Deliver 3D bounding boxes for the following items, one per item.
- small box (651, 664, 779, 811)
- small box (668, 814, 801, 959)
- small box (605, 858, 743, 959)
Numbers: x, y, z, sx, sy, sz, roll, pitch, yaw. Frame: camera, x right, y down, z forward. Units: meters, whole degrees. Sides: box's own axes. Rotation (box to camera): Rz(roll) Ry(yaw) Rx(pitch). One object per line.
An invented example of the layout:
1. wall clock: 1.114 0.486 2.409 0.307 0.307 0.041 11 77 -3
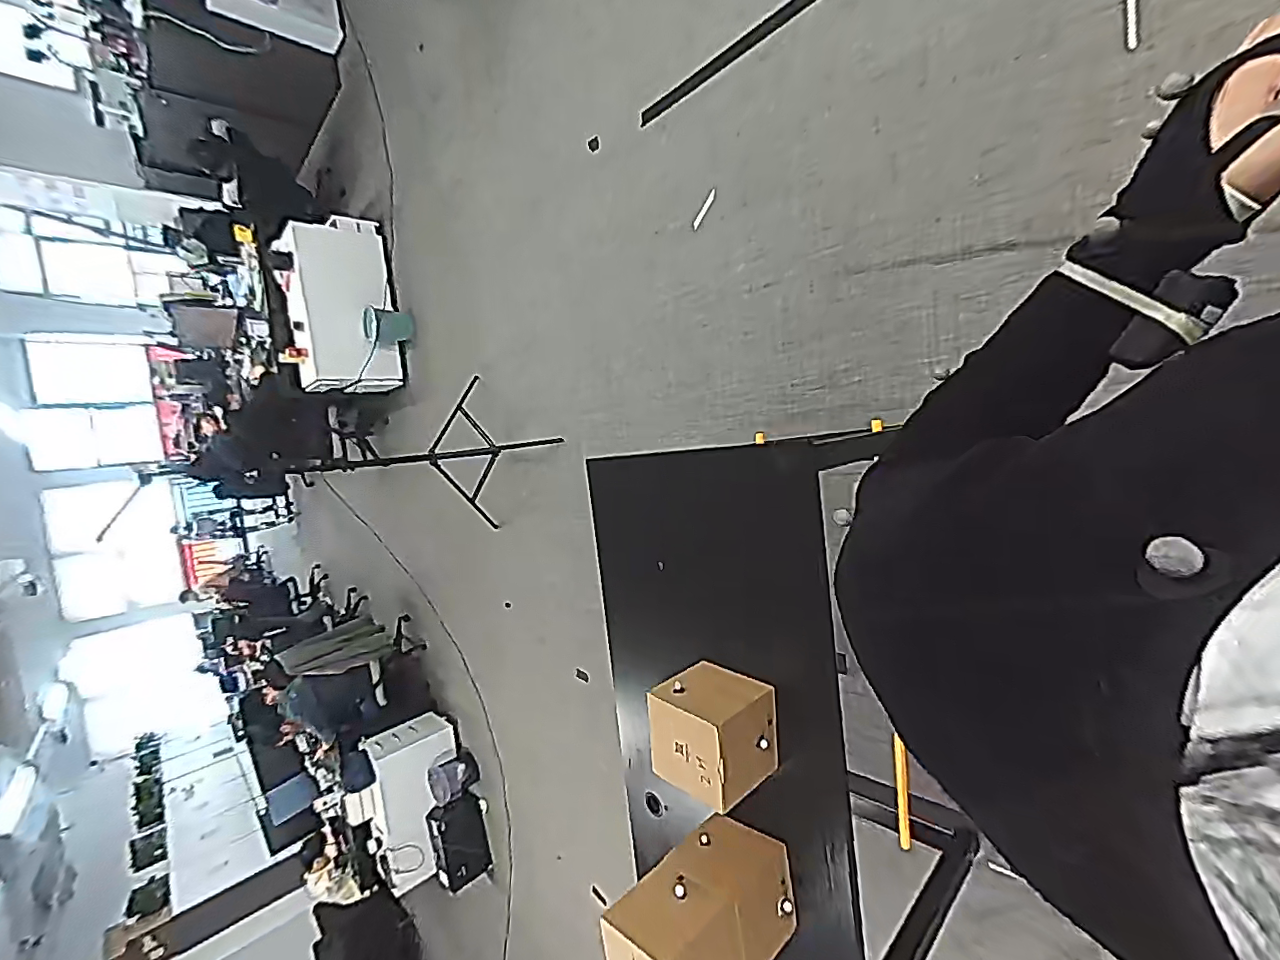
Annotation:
1. small box: 0.142 0.469 1.021 0.179 0.176 0.168 4 101 47
2. small box: 0.183 0.790 1.046 0.179 0.176 0.168 -8 93 47
3. small box: 0.066 0.815 0.933 0.168 0.176 0.179 -8 92 48
